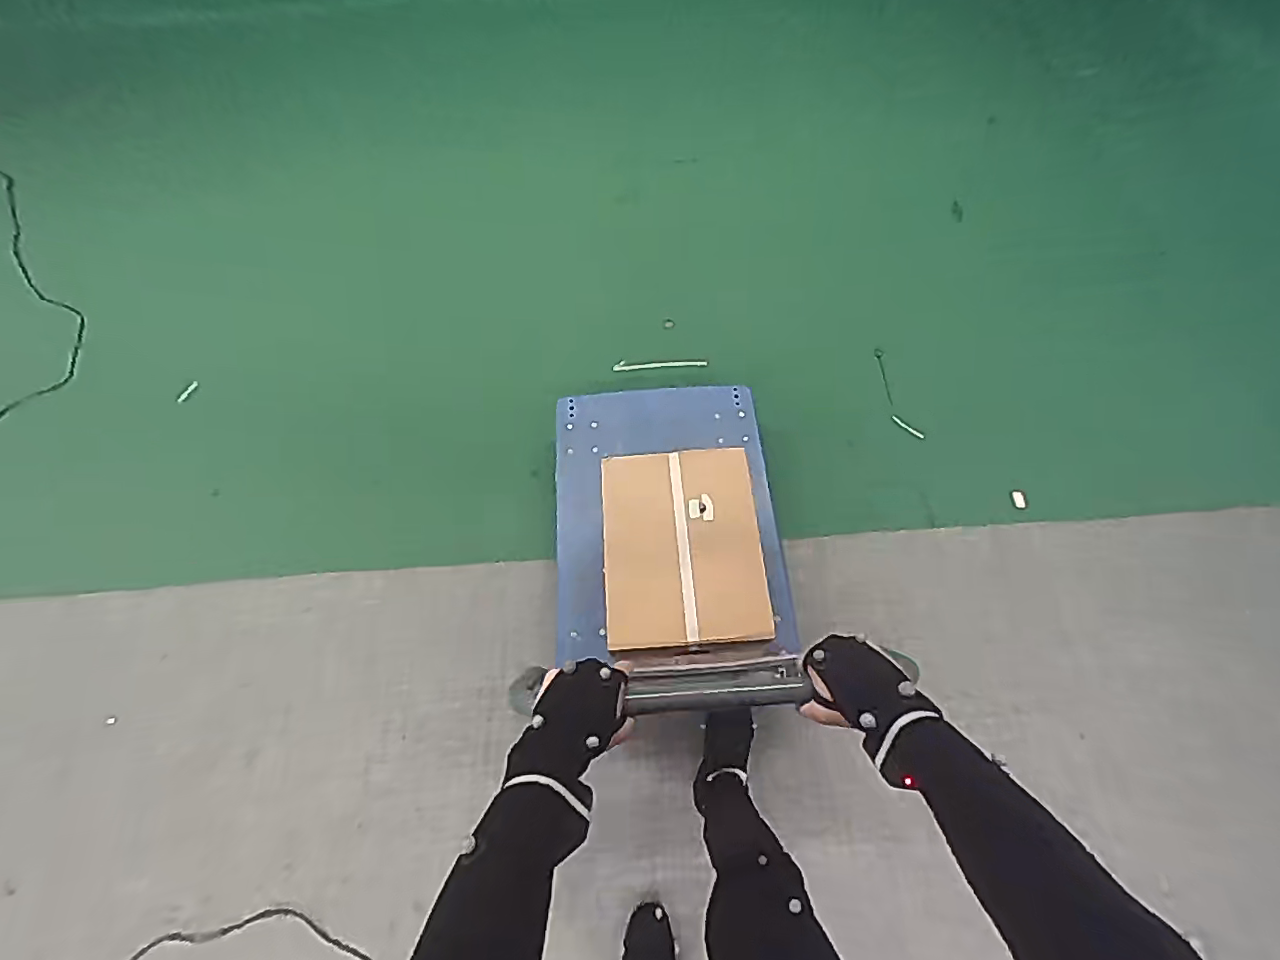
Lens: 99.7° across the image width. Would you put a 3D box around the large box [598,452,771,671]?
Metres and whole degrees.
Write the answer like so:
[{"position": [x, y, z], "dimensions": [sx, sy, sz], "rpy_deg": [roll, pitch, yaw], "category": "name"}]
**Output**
[{"position": [0.084, 0.195, 1.221], "dimensions": [0.320, 0.320, 0.408], "rpy_deg": [-4, 64, 0], "category": "large box"}]
